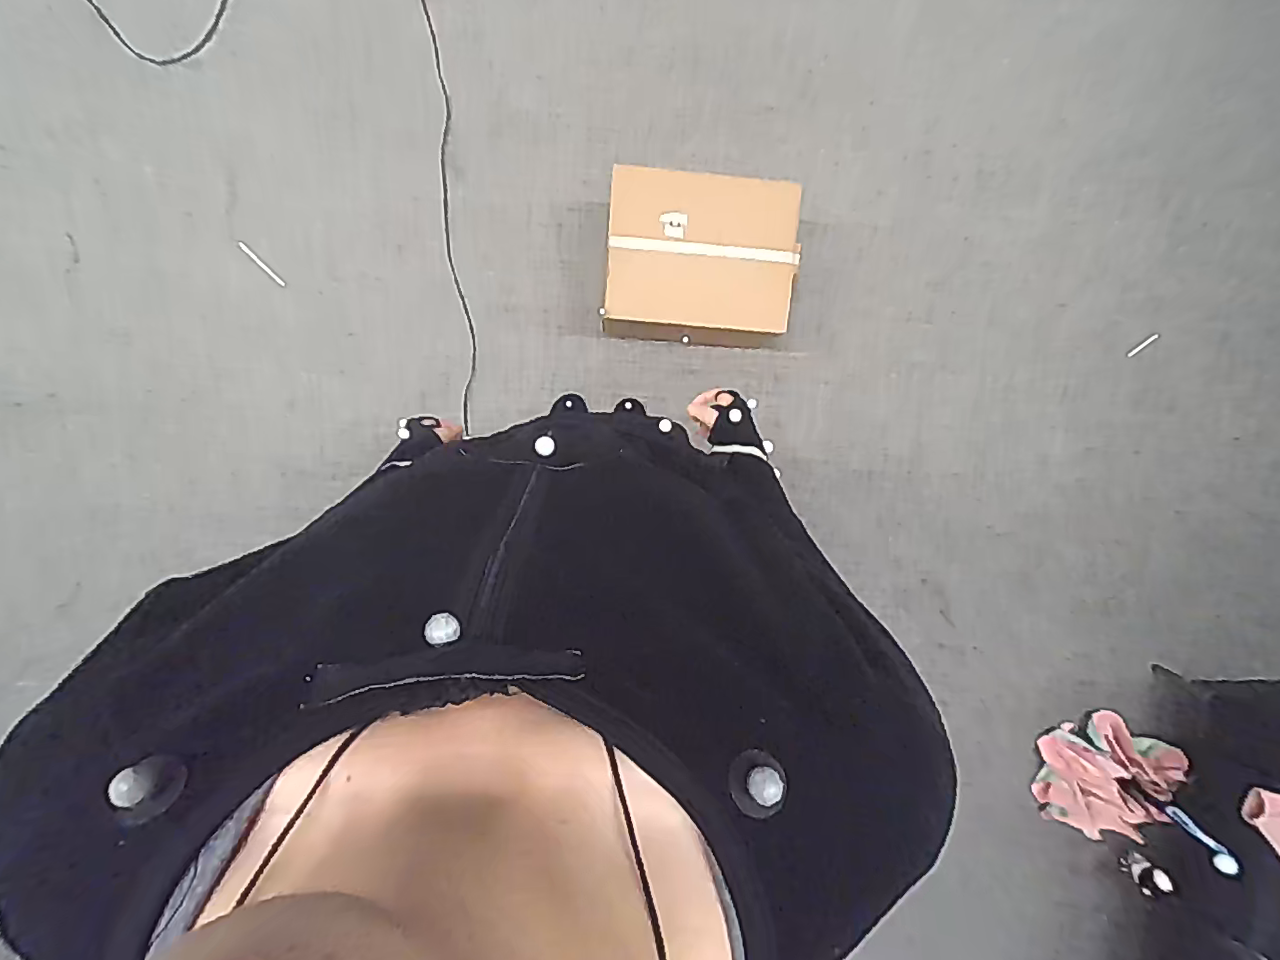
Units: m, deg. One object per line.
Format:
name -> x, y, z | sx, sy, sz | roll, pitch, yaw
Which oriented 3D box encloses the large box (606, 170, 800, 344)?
large box -> 0.131, -0.507, 1.304 | 0.408, 0.320, 0.320 | 4, 97, -3
